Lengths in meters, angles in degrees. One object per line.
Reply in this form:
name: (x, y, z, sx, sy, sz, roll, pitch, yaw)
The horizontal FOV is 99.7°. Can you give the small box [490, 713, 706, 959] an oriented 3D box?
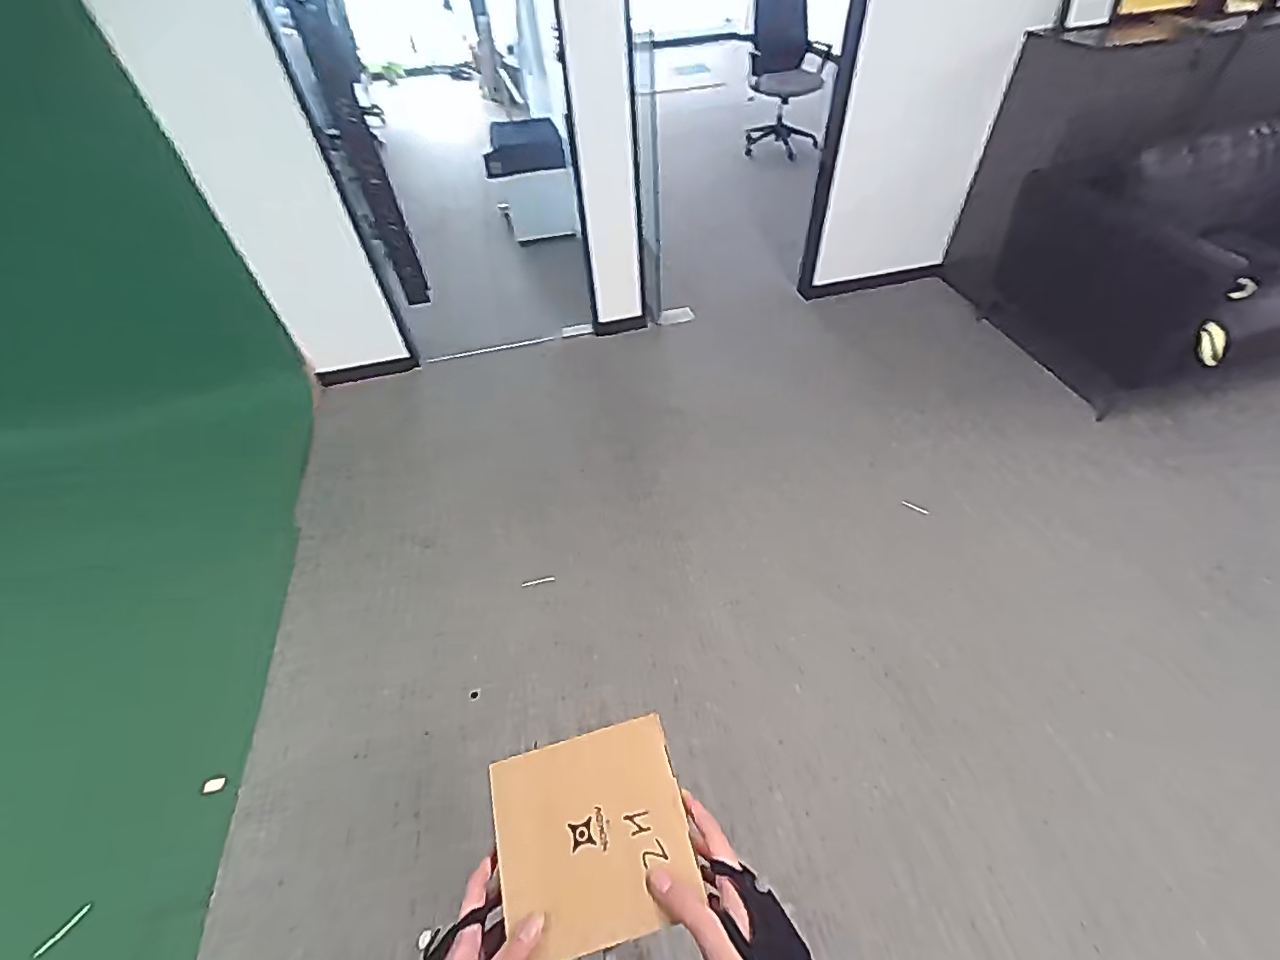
small box: (-0.038, 0.362, 0.553, 0.179, 0.176, 0.168, -14, 56, -5)
